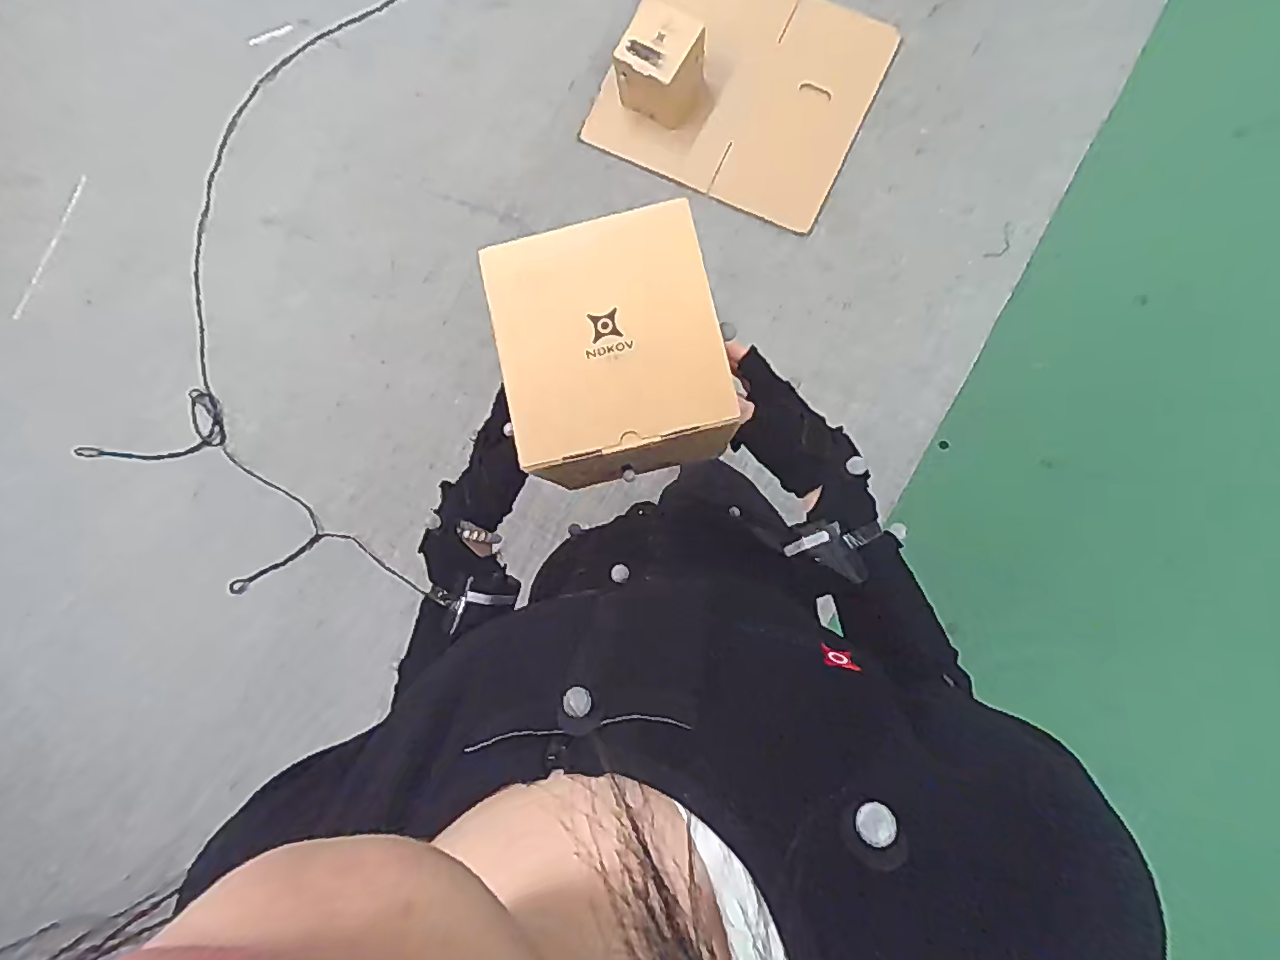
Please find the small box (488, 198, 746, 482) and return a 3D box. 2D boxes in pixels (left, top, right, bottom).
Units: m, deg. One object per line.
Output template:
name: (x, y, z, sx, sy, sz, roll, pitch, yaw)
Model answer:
small box: (-0.016, -0.105, 0.479, 0.168, 0.176, 0.179, -13, 85, 2)
